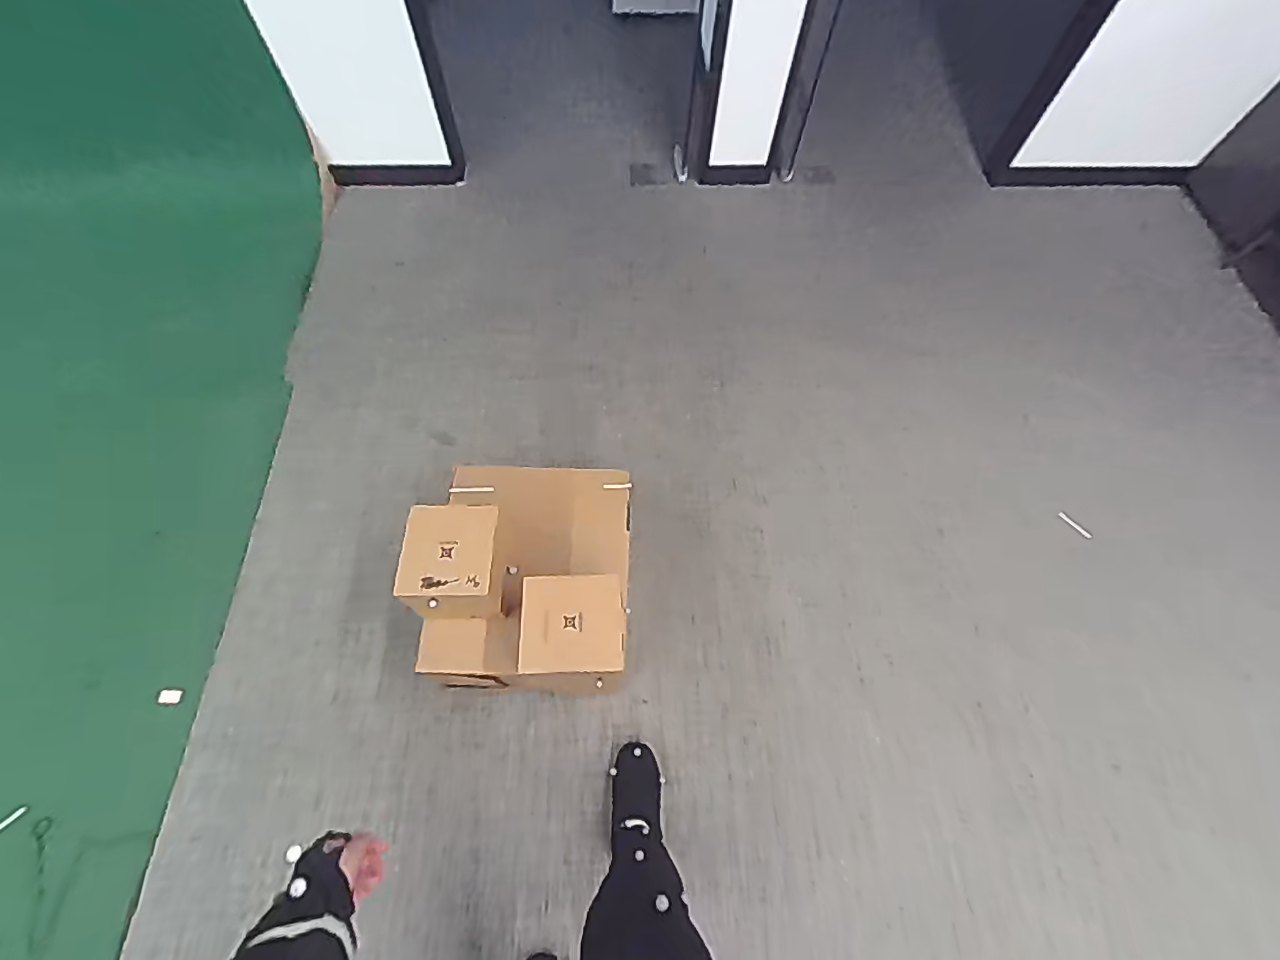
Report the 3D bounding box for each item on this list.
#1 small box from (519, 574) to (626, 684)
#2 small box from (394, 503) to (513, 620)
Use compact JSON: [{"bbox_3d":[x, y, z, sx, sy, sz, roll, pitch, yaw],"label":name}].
[{"bbox_3d":[-0.117,0.274,0.987,0.179,0.176,0.168,-1,63,-3],"label":"small box"},{"bbox_3d":[-0.344,0.160,1.038,0.168,0.176,0.179,1,62,-1],"label":"small box"}]
